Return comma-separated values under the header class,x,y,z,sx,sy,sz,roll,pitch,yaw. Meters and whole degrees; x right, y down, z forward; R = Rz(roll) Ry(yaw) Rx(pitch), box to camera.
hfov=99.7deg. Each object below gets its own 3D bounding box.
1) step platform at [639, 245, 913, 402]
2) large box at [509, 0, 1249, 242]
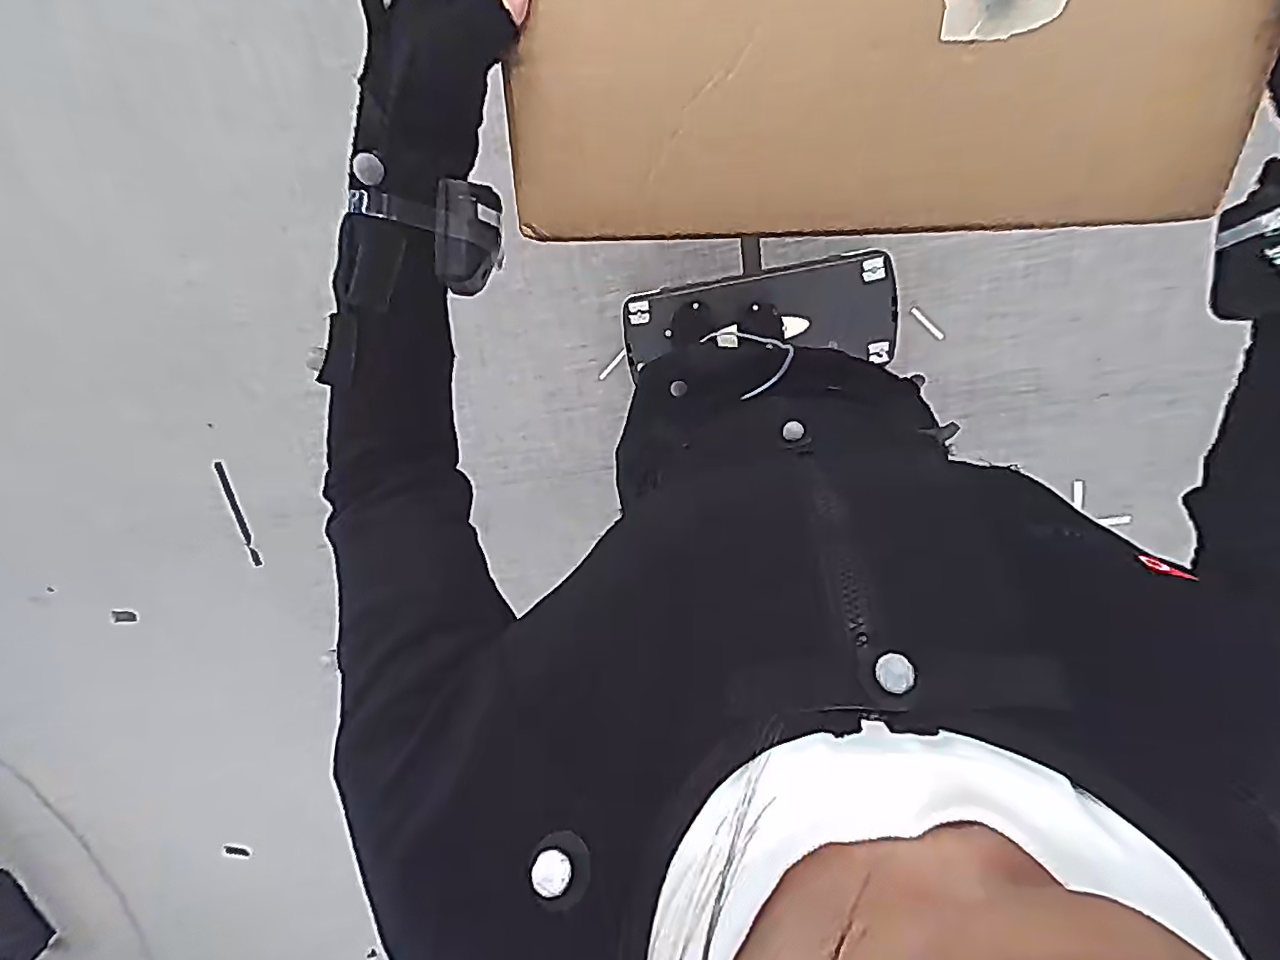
class,x,y,z,sx,sy,sz,roll,pitch,yaw
step platform,0.340,-0.403,1.424,0.684,0.204,0.286,-9,108,9
large box,0.134,-0.363,0.418,0.408,0.320,0.320,1,115,7
